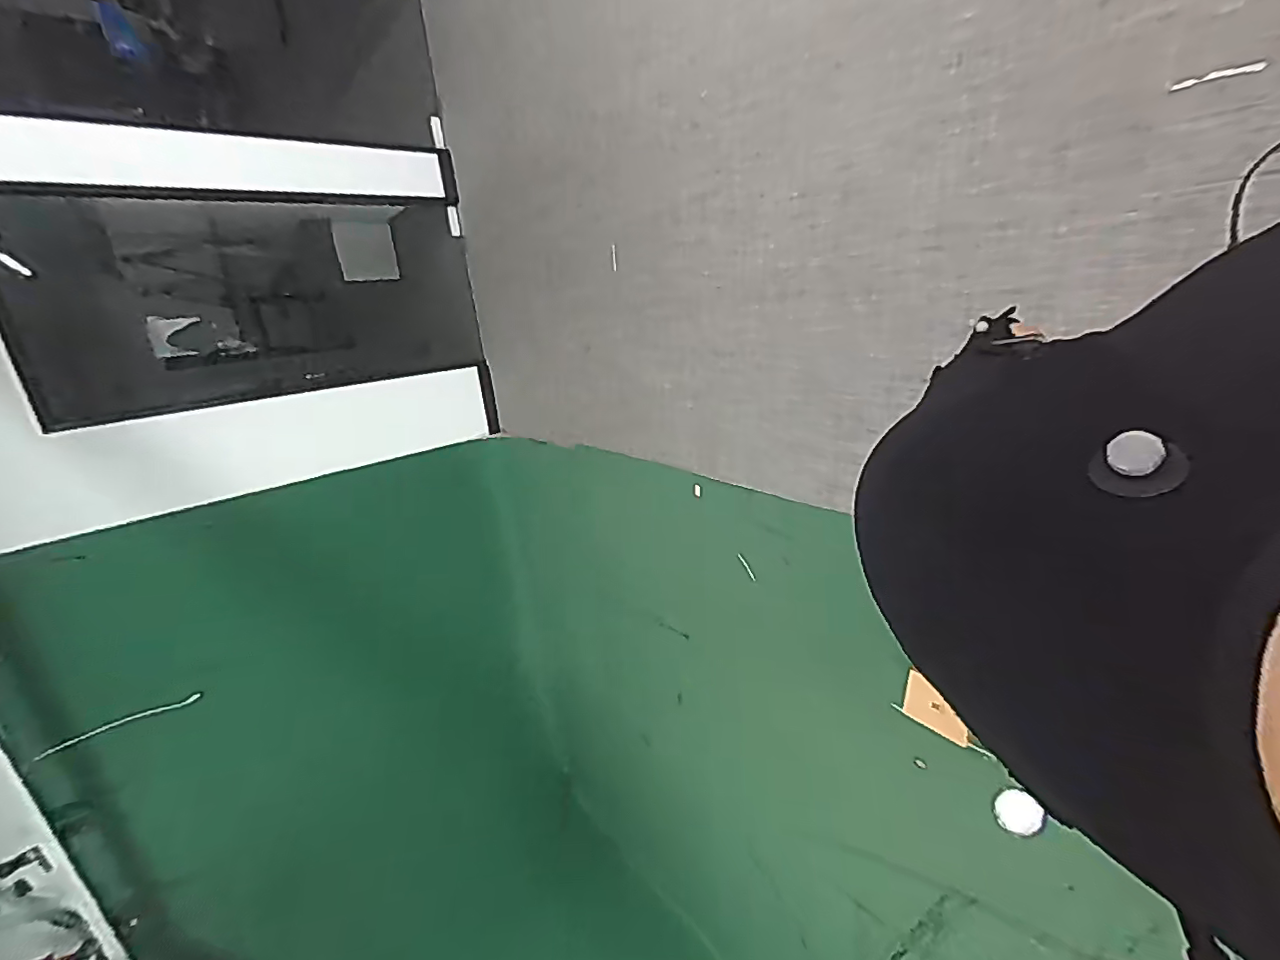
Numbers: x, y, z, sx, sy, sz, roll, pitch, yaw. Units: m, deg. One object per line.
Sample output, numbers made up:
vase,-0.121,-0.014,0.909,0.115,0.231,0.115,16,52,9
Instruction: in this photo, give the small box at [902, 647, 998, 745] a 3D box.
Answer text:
small box,0.885,0.605,1.548,0.179,0.176,0.168,22,121,46
